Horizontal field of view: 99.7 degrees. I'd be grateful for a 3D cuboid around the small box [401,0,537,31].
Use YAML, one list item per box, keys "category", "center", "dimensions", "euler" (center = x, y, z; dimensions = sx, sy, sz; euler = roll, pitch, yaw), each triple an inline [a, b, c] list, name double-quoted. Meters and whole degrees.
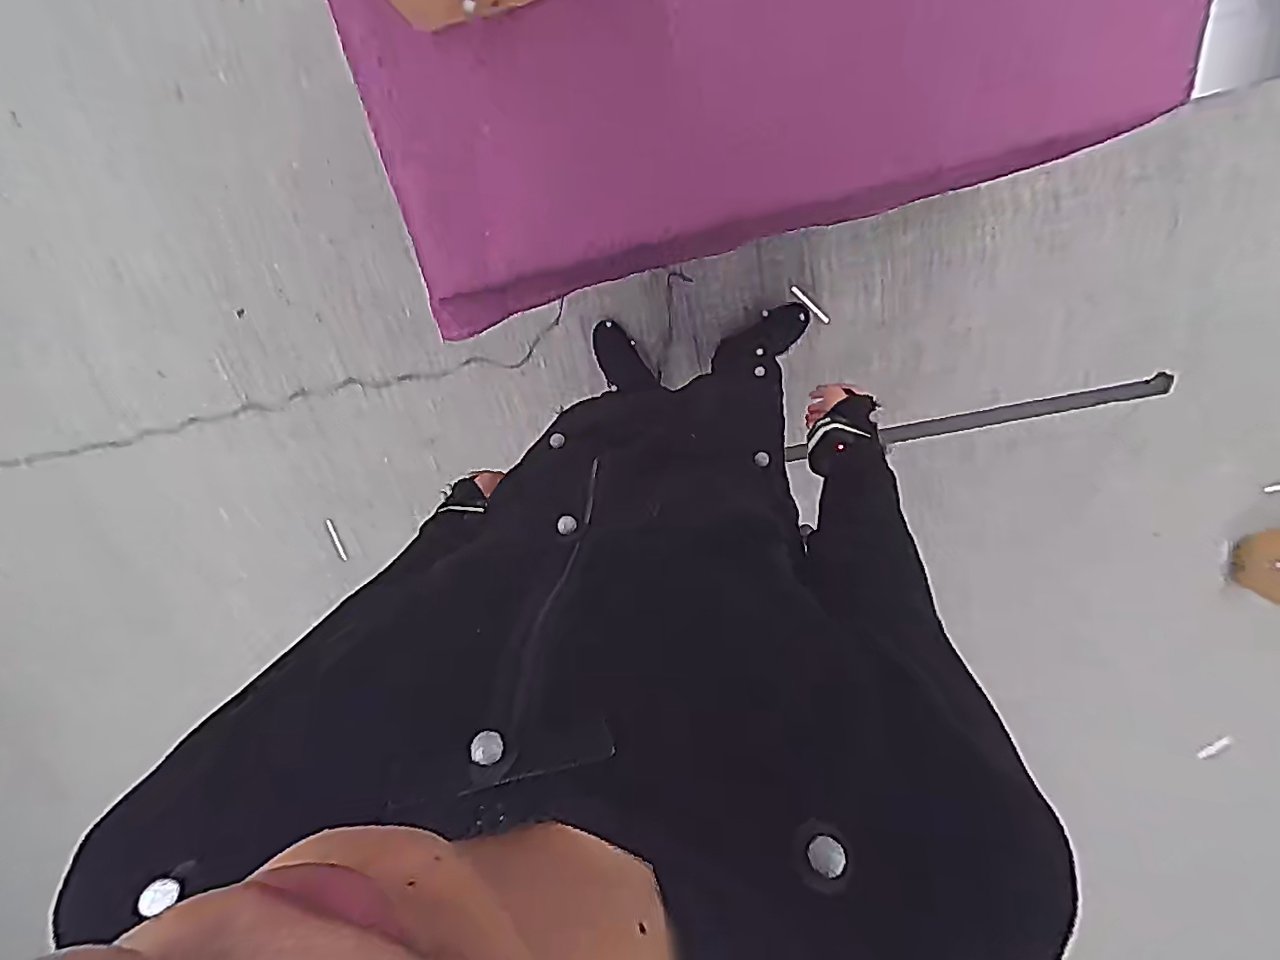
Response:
- category: "small box"
  center: [-0.216, -0.631, 0.572]
  dimensions: [0.168, 0.176, 0.179]
  euler: [-10, 110, 6]
